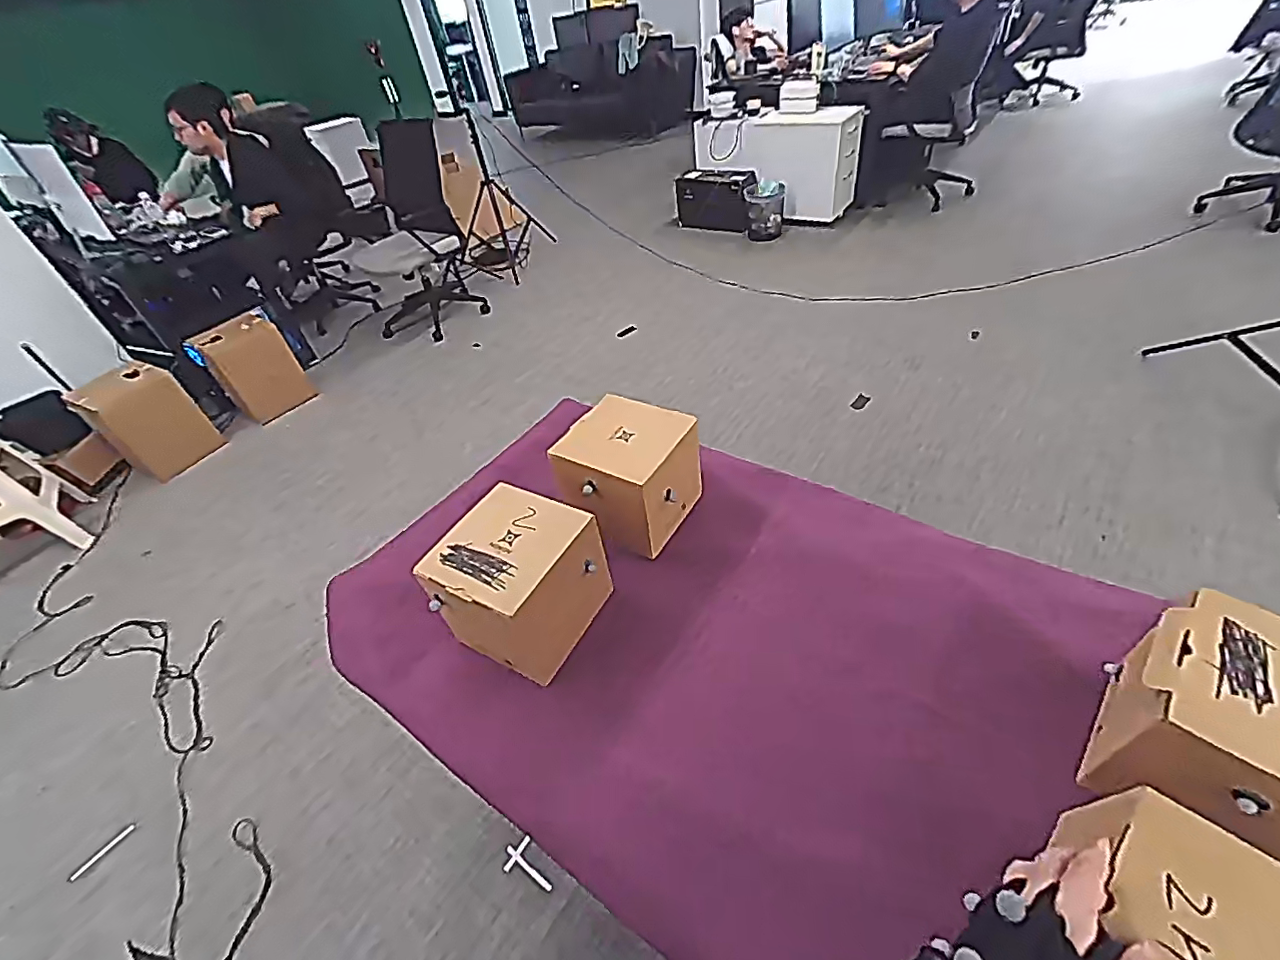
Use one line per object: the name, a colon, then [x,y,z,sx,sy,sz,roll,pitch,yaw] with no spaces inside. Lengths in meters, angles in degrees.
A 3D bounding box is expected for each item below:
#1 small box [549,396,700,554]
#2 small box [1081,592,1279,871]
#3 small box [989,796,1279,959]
small box: [-0.014,-0.006,0.874,0.179,0.176,0.168,19,50,27]
small box: [0.558,0.245,0.498,0.179,0.176,0.168,29,57,32]
small box: [0.371,0.350,0.358,0.179,0.176,0.168,30,68,35]
